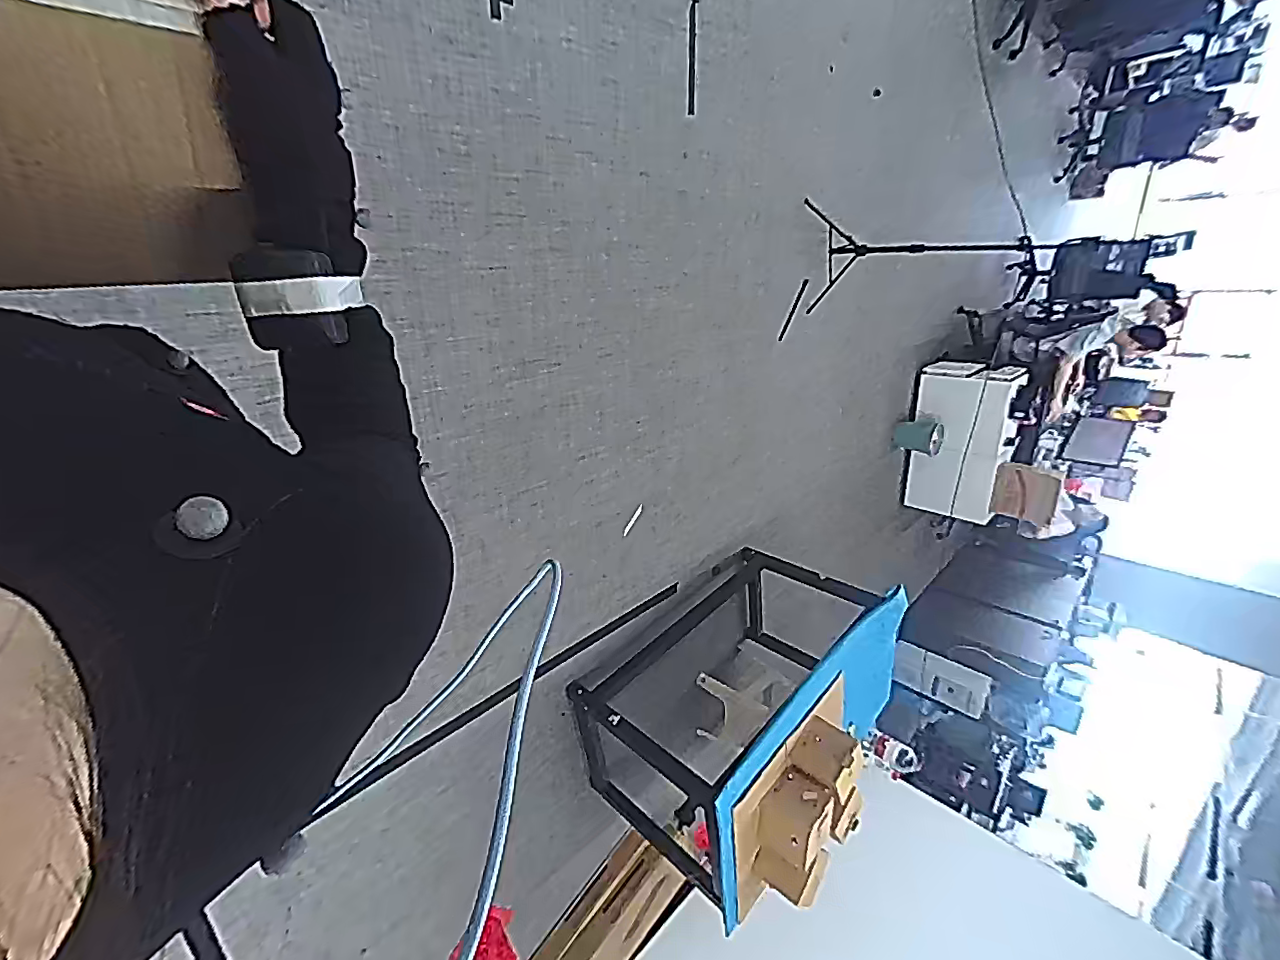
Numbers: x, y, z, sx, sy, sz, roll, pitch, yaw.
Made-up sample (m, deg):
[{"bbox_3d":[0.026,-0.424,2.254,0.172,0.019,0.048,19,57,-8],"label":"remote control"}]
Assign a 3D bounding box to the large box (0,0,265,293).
[{"bbox_3d":[-0.476,-0.300,0.252,0.408,0.320,0.320,-23,147,-41],"label":"large box"}]
